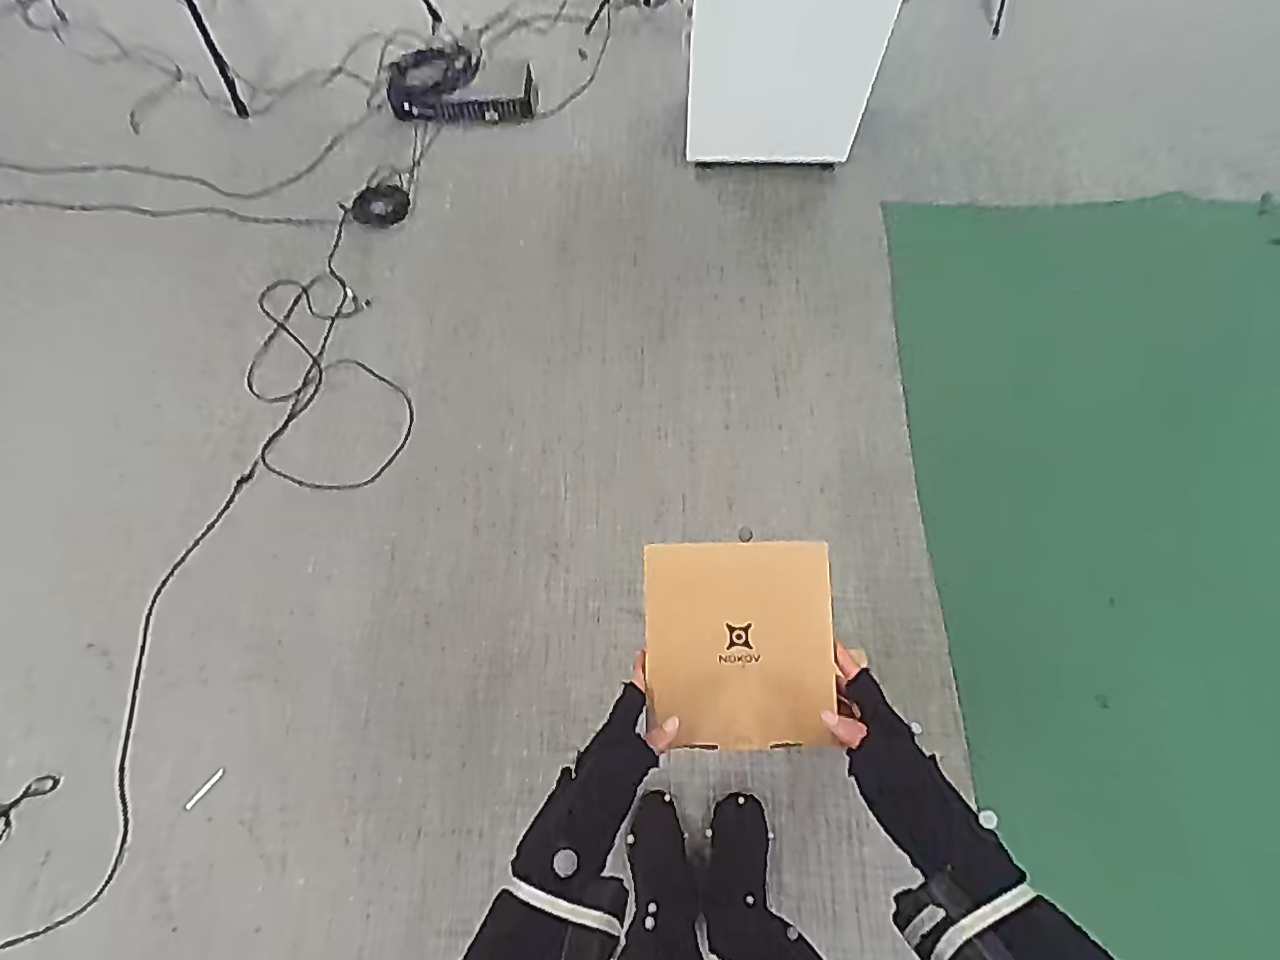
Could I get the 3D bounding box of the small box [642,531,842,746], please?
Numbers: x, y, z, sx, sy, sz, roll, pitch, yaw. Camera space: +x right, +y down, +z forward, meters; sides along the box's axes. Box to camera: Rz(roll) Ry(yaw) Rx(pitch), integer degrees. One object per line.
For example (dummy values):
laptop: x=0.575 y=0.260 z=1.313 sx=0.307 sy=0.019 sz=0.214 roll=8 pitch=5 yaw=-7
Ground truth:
small box: x=0.086 y=0.143 z=0.536 sx=0.168 sy=0.176 sz=0.179 roll=-2 pitch=83 yaw=1

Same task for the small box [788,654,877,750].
small box: x=0.376 y=0.462 z=1.137 sx=0.168 sy=0.176 sz=0.179 roll=-1 pitch=69 yaw=1
